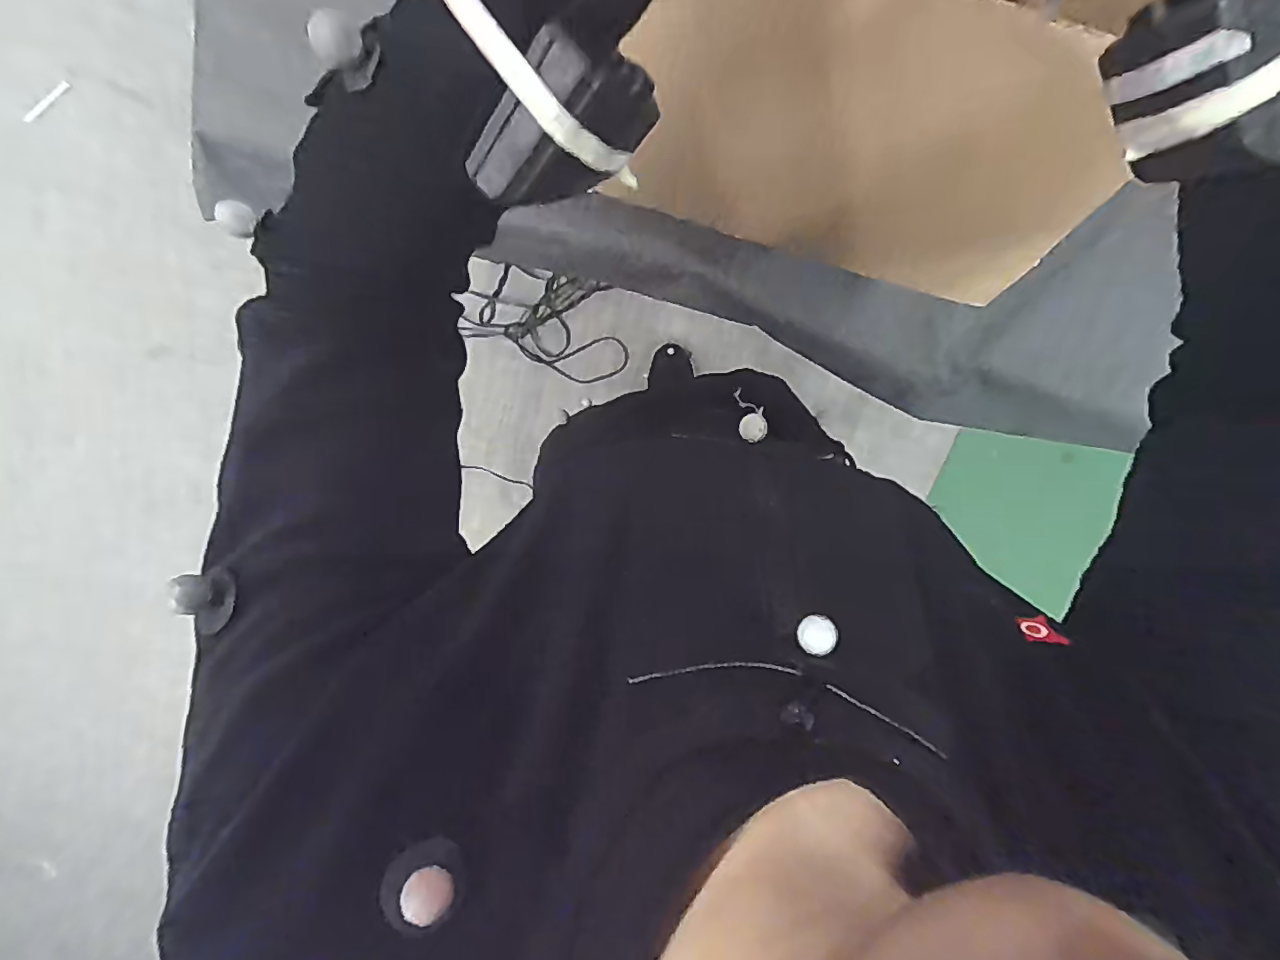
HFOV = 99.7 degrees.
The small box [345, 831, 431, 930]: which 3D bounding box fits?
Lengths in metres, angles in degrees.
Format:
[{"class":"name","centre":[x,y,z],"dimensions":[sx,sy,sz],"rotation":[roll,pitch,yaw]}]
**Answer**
[{"class":"small box","centre":[-0.782,1.242,1.688],"dimensions":[0.179,0.176,0.168],"rotation":[16,106,-3]}]
